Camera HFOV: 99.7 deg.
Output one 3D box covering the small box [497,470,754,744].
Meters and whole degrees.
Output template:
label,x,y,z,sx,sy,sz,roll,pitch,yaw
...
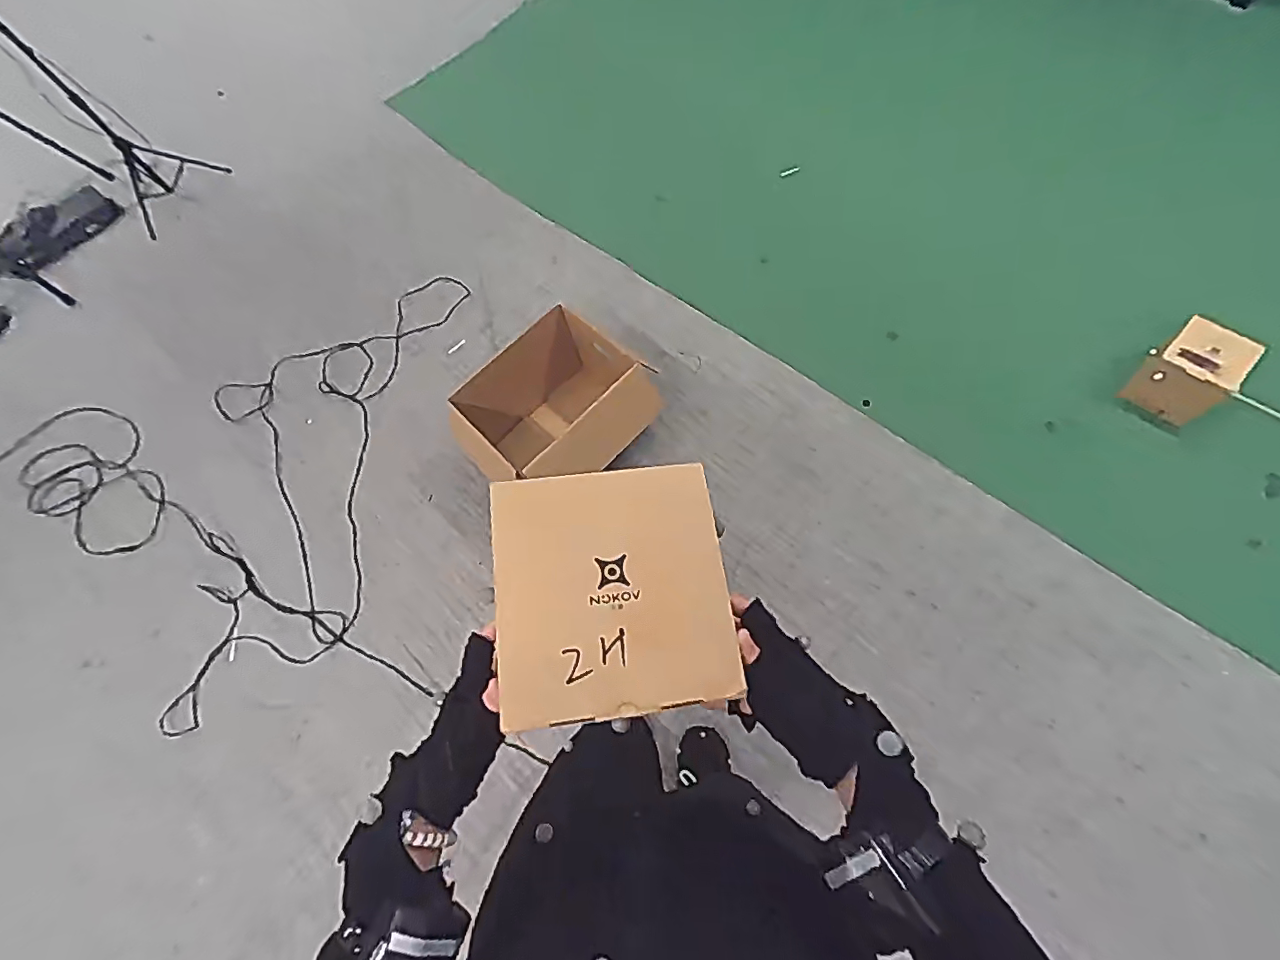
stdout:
label,x,y,z,sx,sy,sz,roll,pitch,yaw
small box,-0.022,0.108,0.447,0.168,0.176,0.179,-5,69,-7
